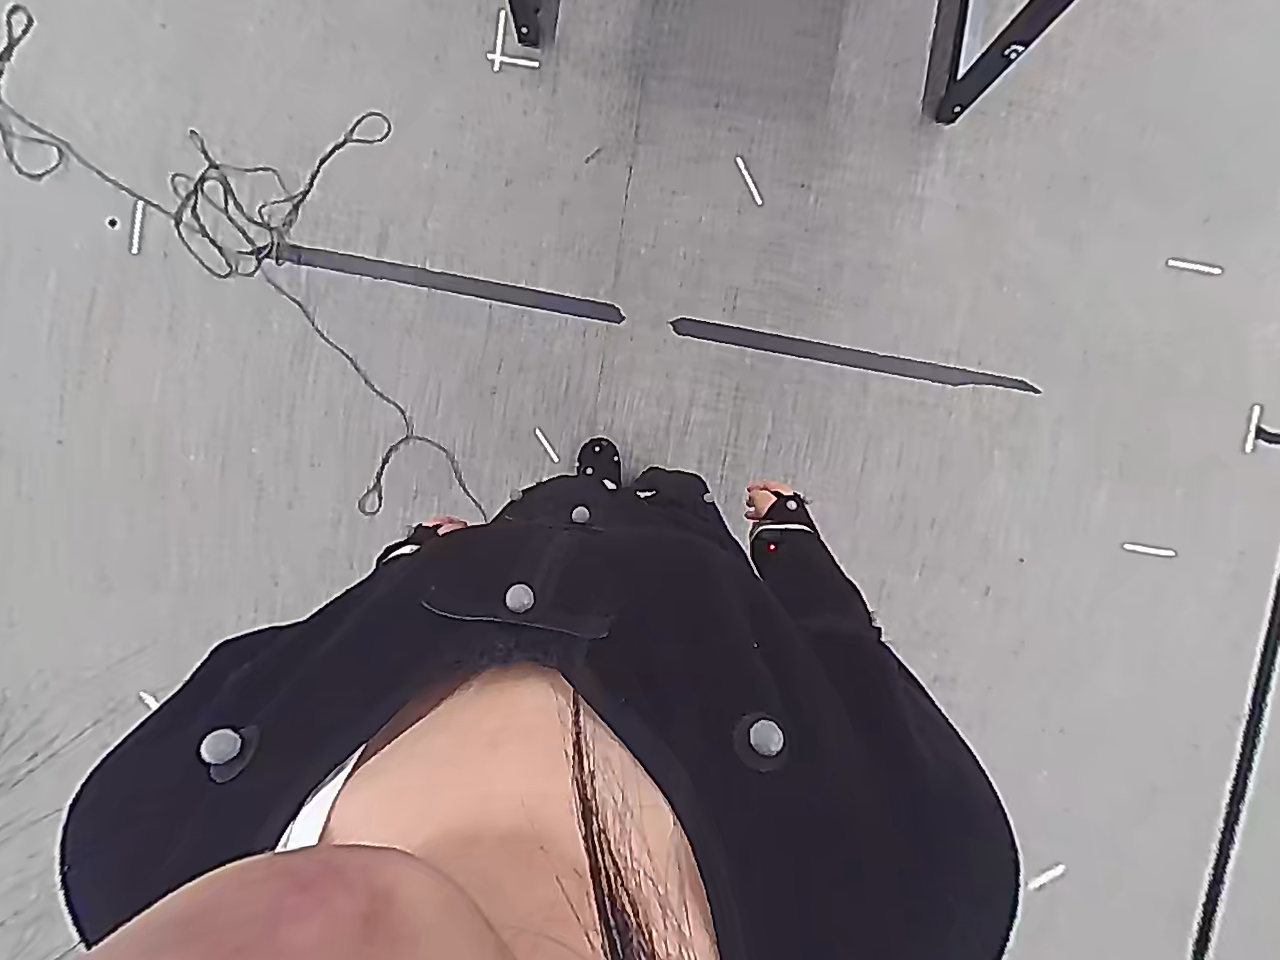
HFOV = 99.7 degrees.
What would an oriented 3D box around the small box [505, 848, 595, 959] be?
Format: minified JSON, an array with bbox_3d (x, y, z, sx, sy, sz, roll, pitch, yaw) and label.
[{"bbox_3d":[-0.189,0.945,1.167,0.168,0.176,0.179,6,92,-2],"label":"small box"}]
